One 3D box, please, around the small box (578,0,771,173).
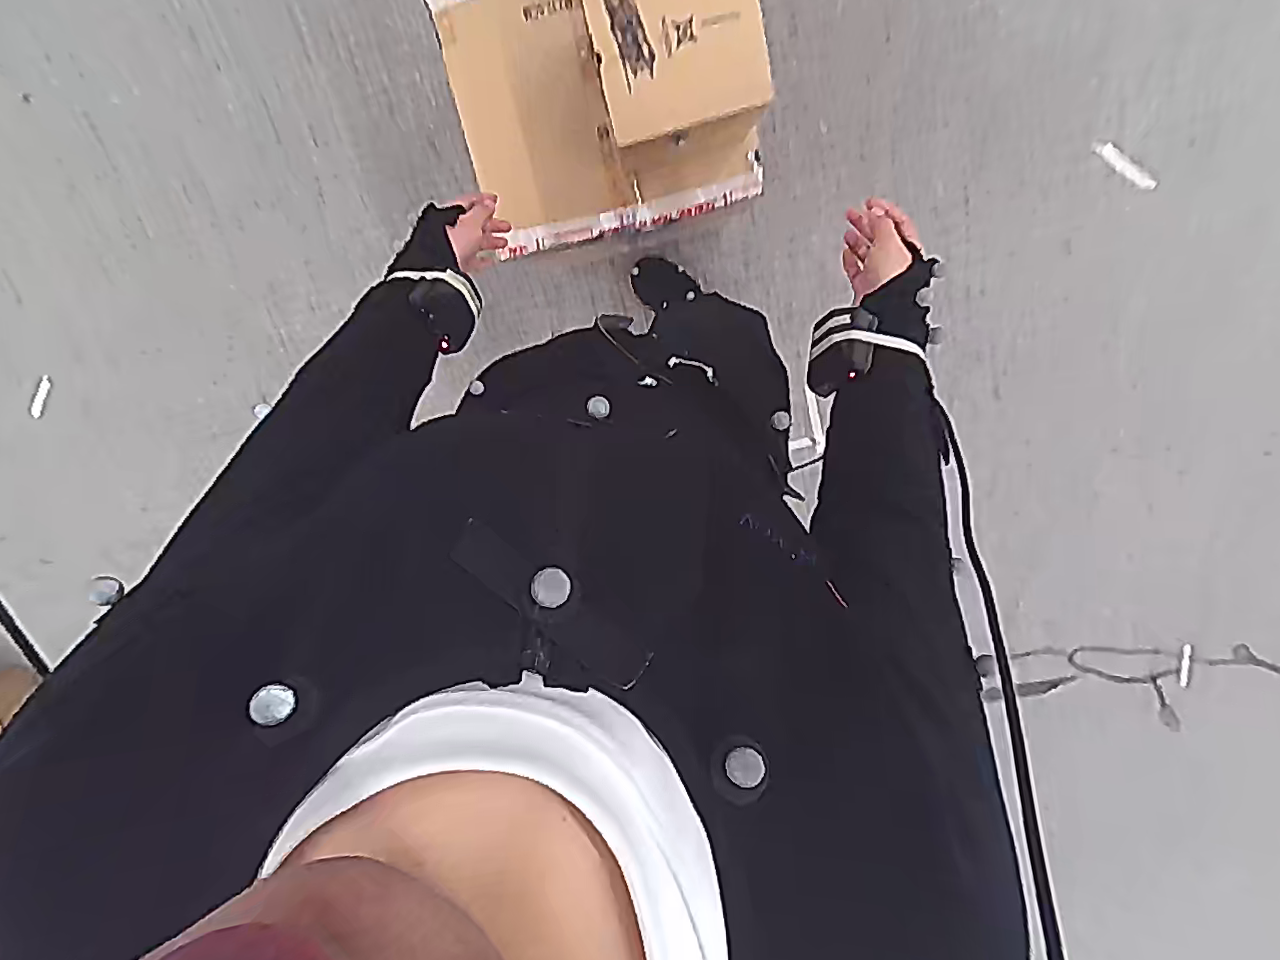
[{"bbox_3d":[0.037,-0.477,0.627,0.179,0.176,0.168,-14,110,4],"label":"small box"}]
